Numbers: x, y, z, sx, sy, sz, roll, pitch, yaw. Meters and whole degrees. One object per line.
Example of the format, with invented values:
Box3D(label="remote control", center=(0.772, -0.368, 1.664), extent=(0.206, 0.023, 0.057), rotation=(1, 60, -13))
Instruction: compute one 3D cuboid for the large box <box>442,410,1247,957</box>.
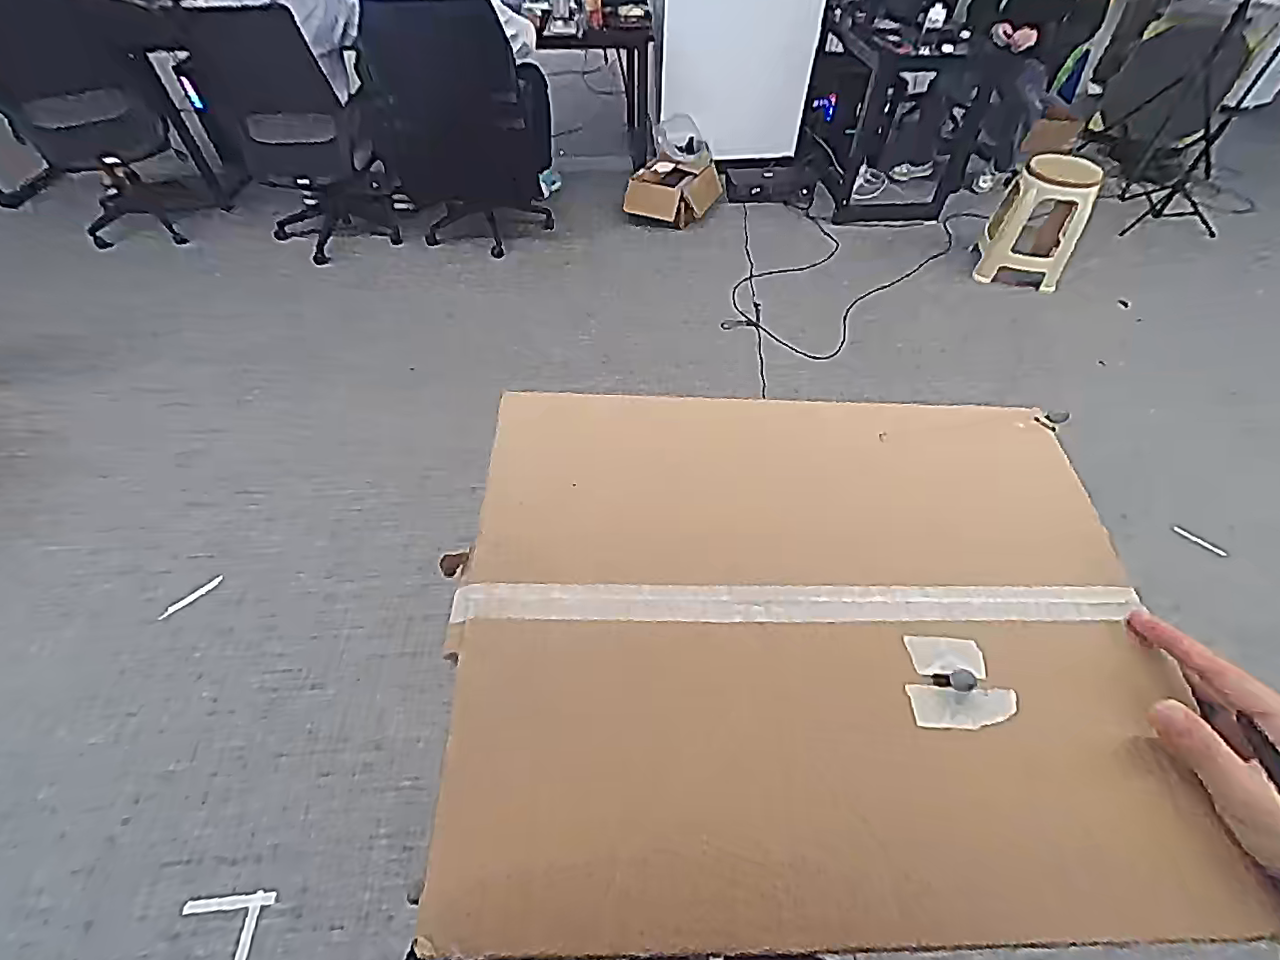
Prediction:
Box3D(label="large box", center=(0.091, 0.159, 0.457), extent=(0.408, 0.320, 0.320), rotation=(1, 59, -4))
